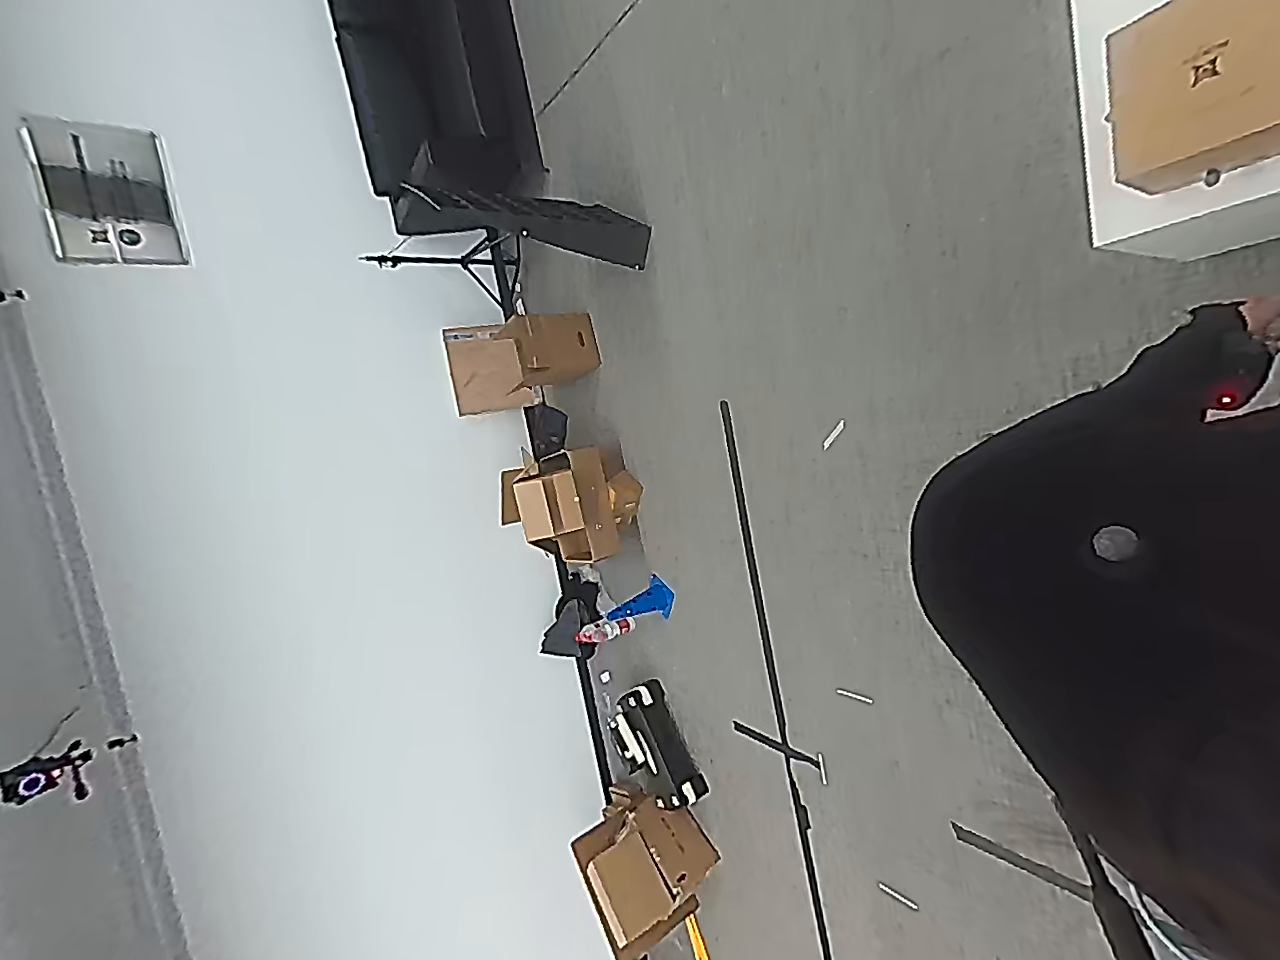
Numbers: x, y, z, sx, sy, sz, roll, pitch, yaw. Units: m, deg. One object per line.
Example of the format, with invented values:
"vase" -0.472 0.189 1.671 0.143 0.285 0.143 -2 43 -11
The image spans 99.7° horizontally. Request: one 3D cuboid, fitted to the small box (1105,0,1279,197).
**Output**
"small box" 0.682 -0.463 0.638 0.168 0.176 0.179 0 100 56
